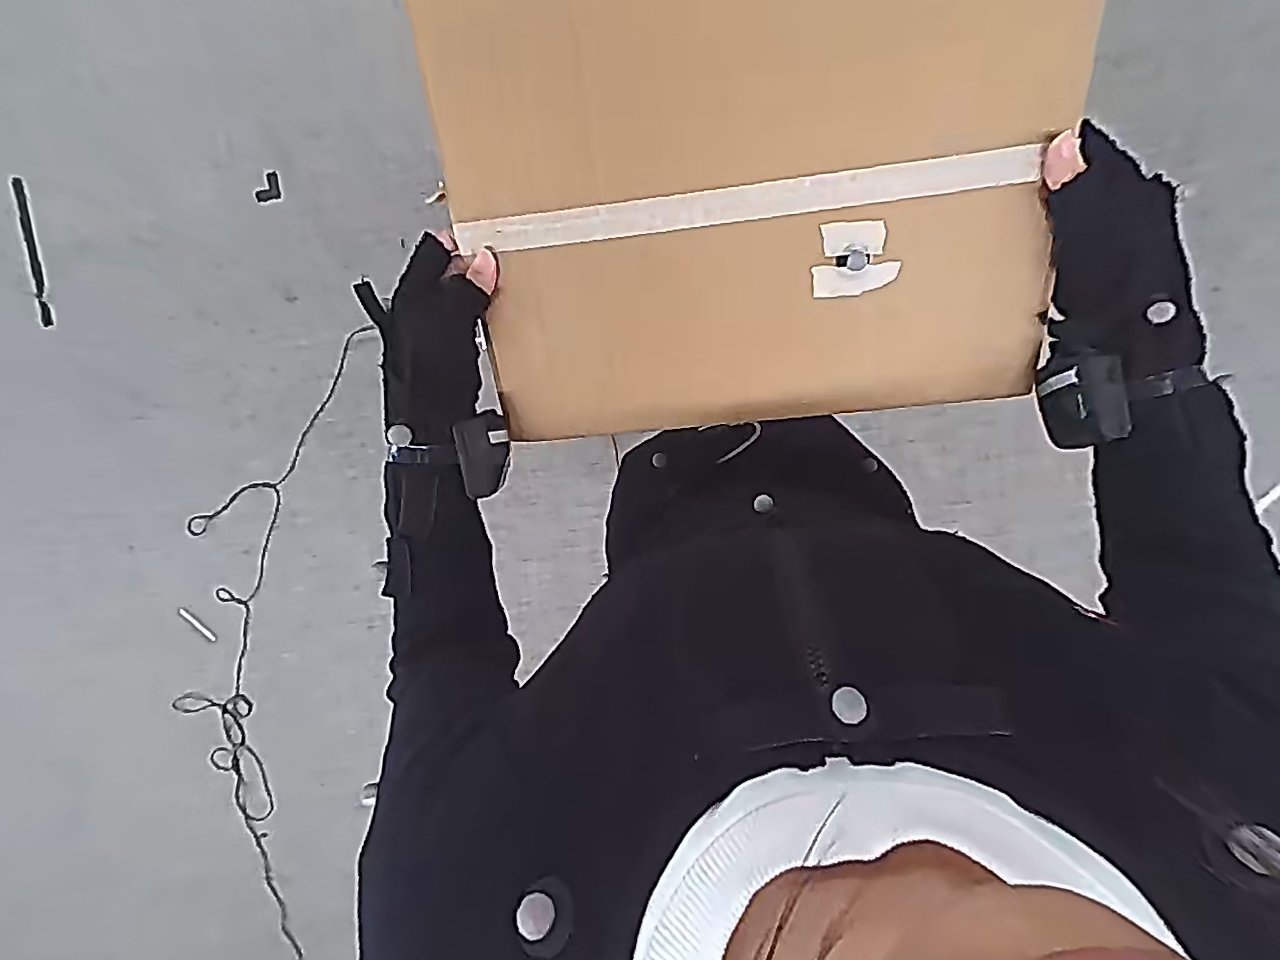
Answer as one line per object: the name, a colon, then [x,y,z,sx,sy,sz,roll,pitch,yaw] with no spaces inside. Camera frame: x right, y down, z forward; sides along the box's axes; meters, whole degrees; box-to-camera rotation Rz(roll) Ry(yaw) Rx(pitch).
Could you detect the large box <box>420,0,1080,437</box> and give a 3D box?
large box: [0.081,-0.257,0.510,0.408,0.320,0.320,-6,115,5]
